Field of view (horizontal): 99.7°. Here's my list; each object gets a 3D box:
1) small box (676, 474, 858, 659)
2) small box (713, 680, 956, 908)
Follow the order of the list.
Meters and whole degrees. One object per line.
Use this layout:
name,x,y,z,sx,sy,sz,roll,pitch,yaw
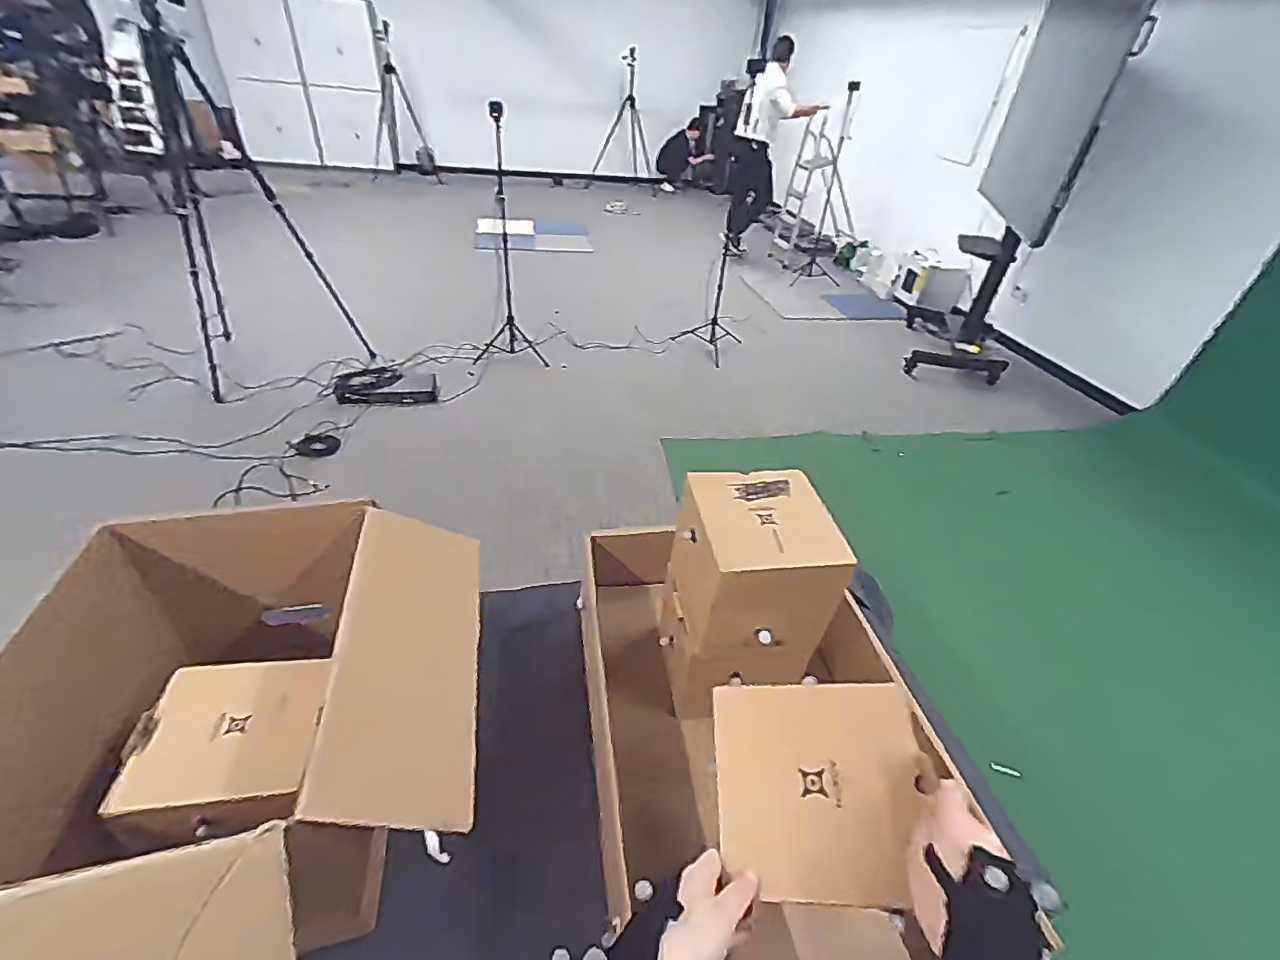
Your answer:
small box,0.149,0.110,0.714,0.168,0.176,0.179,-2,40,-9
small box,0.168,0.299,0.519,0.179,0.176,0.168,-5,54,11
